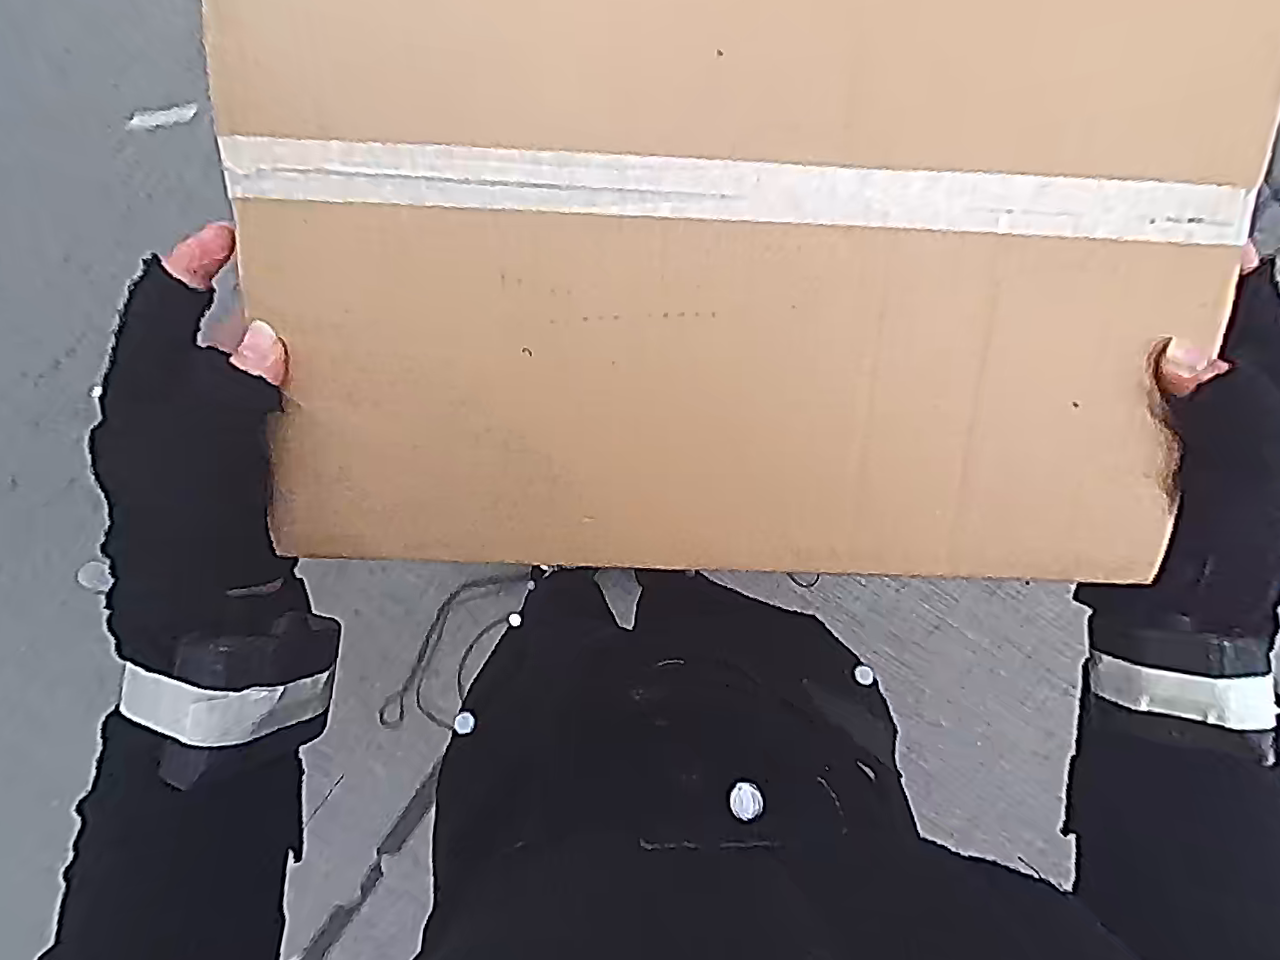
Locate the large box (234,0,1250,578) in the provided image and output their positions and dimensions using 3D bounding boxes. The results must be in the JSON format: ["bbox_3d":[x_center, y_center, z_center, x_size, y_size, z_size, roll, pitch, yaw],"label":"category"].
[{"bbox_3d":[0.035,-0.134,0.374,0.408,0.320,0.320,1,103,-2],"label":"large box"}]
